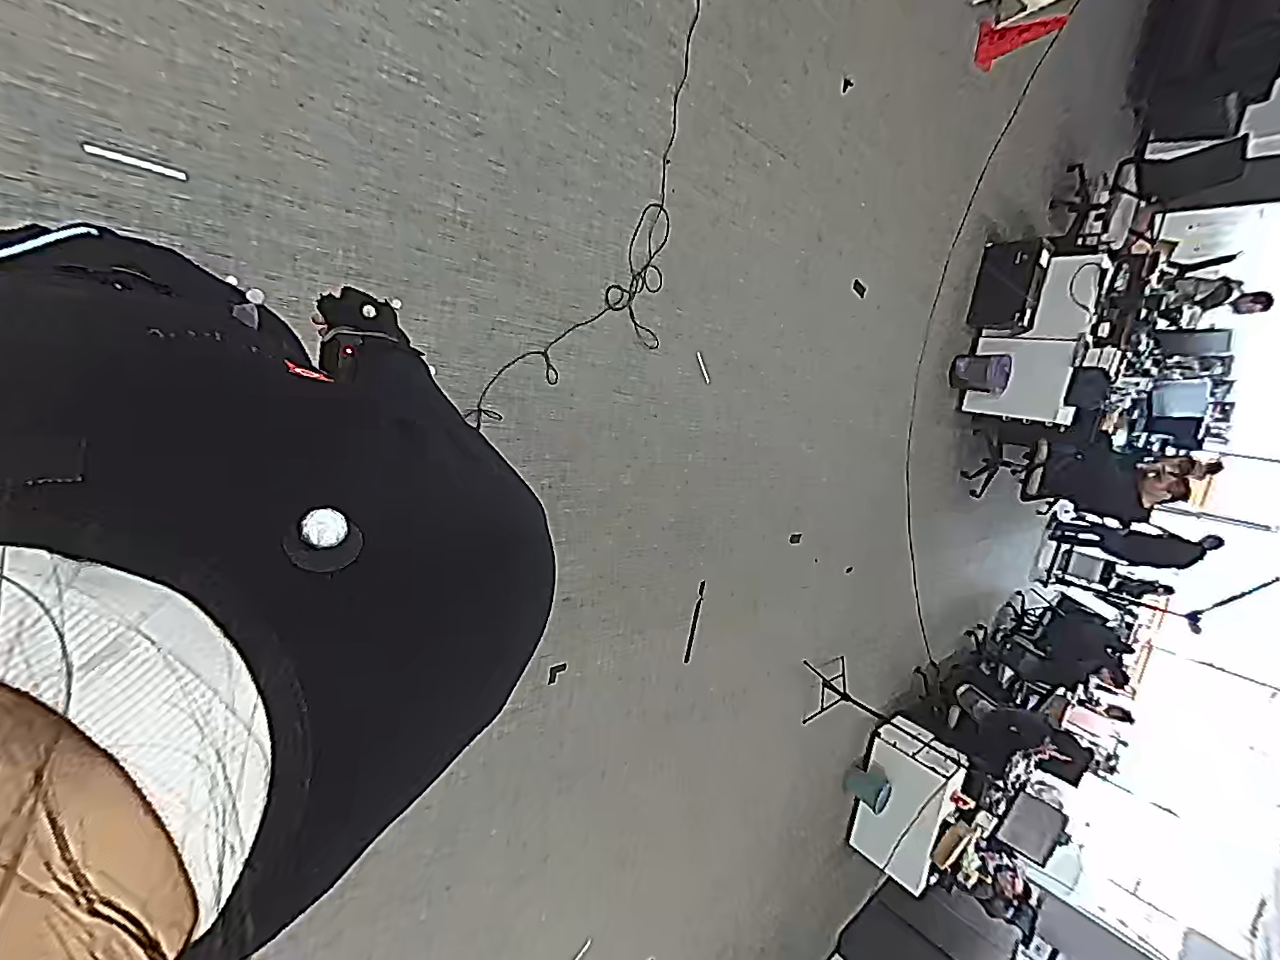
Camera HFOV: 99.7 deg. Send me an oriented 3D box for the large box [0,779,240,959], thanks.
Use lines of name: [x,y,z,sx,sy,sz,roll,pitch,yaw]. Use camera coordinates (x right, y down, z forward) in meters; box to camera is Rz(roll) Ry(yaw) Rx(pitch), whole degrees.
large box: [-1.112,0.869,1.105,0.408,0.320,0.320,20,89,-42]
